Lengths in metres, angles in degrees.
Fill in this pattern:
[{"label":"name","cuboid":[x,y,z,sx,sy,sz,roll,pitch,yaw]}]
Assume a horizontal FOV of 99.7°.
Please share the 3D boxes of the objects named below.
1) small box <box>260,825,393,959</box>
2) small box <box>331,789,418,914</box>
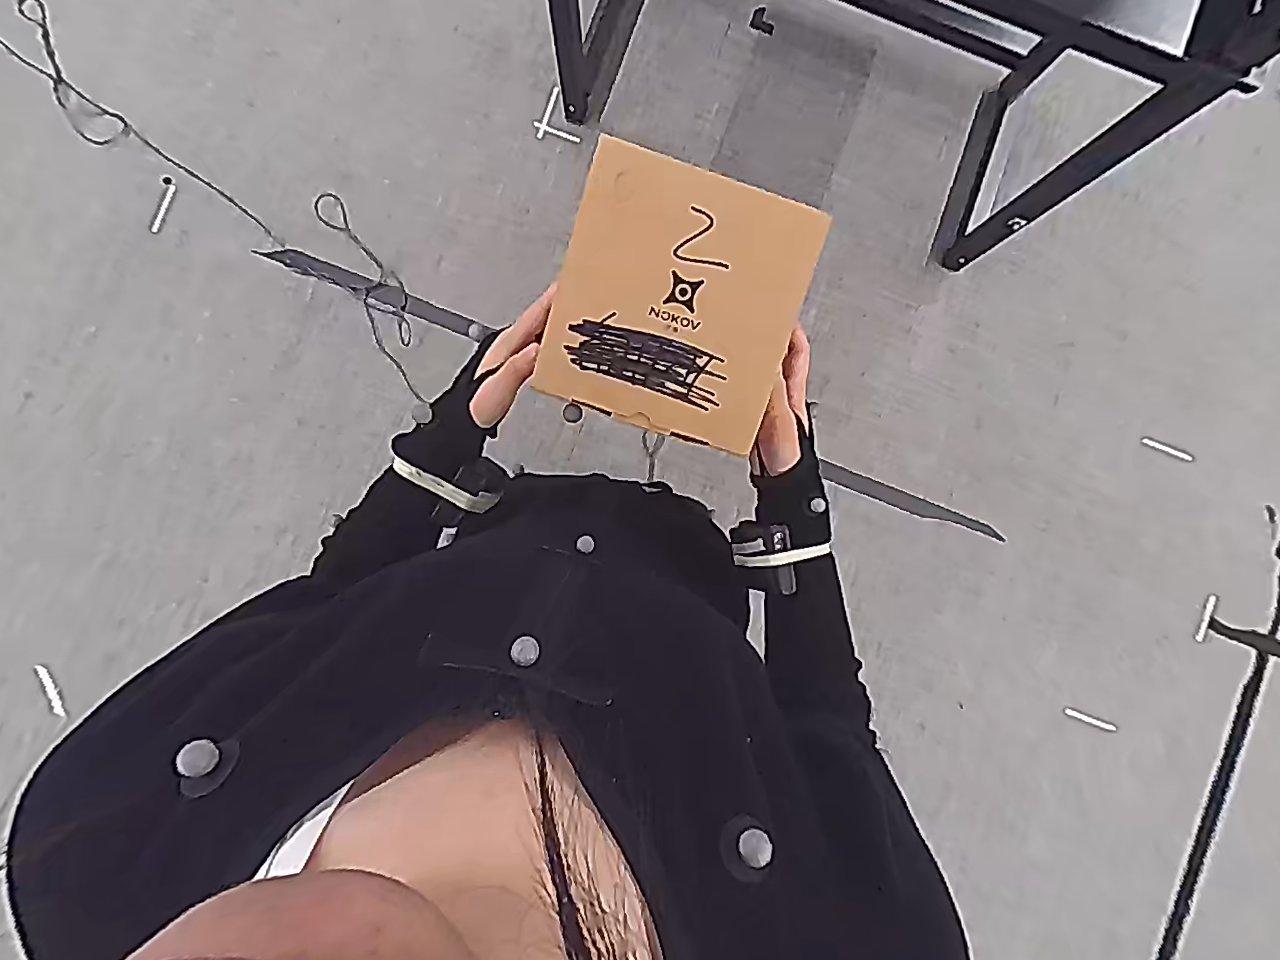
[{"label":"small box","cuboid":[-0.683,0.922,1.202,0.168,0.176,0.179,23,87,-2]},{"label":"small box","cuboid":[-0.688,0.928,1.364,0.168,0.176,0.179,20,87,-2]}]
